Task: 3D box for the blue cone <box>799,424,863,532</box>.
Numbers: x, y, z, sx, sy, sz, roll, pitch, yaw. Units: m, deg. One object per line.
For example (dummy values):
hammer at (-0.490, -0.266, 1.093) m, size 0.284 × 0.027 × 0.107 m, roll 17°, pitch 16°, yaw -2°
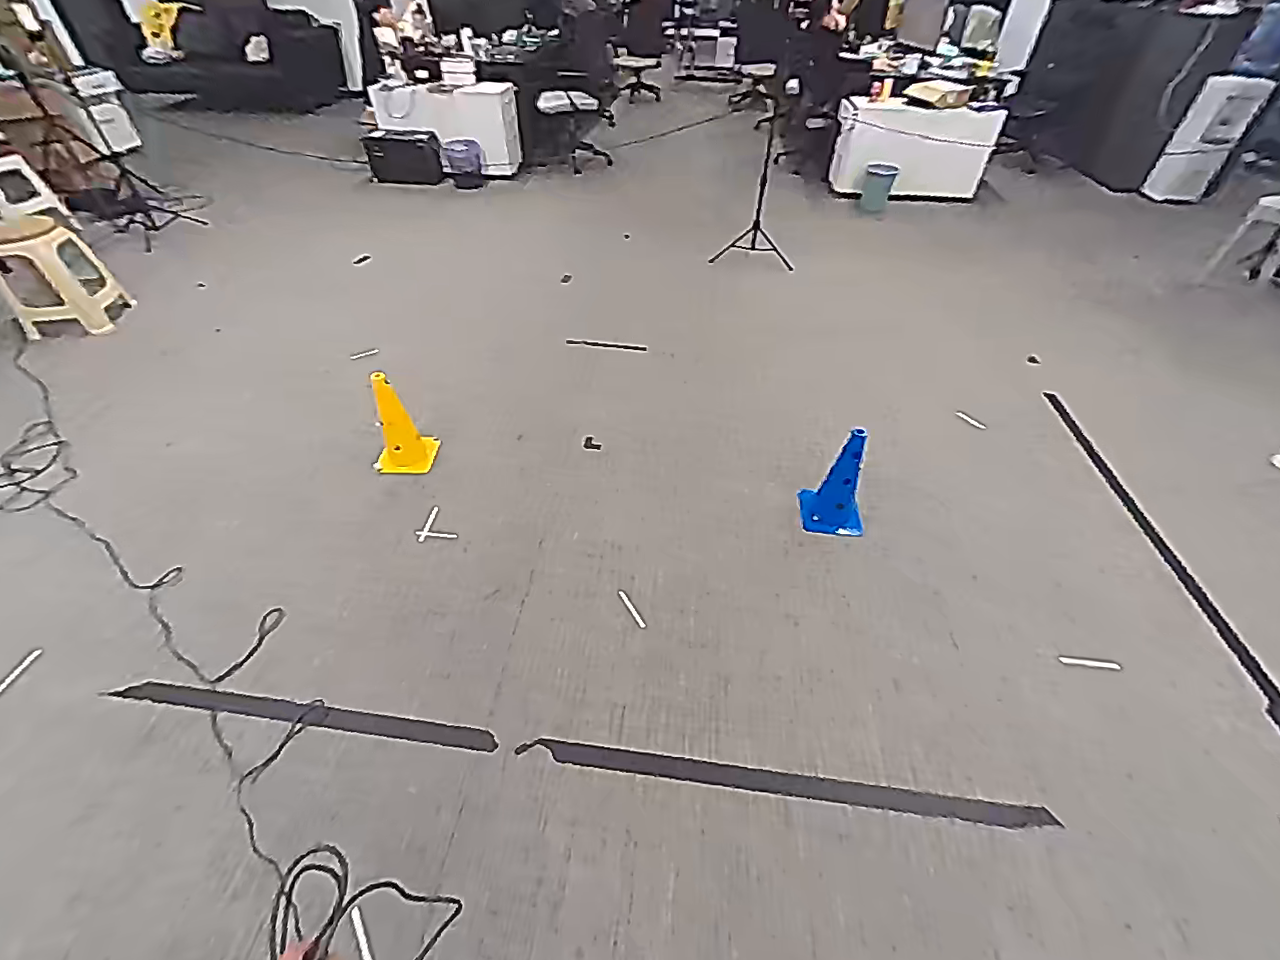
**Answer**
blue cone at (0.653, -0.016, 1.748) m, size 0.193 × 0.380 × 0.192 m, roll 6°, pitch 43°, yaw 5°
